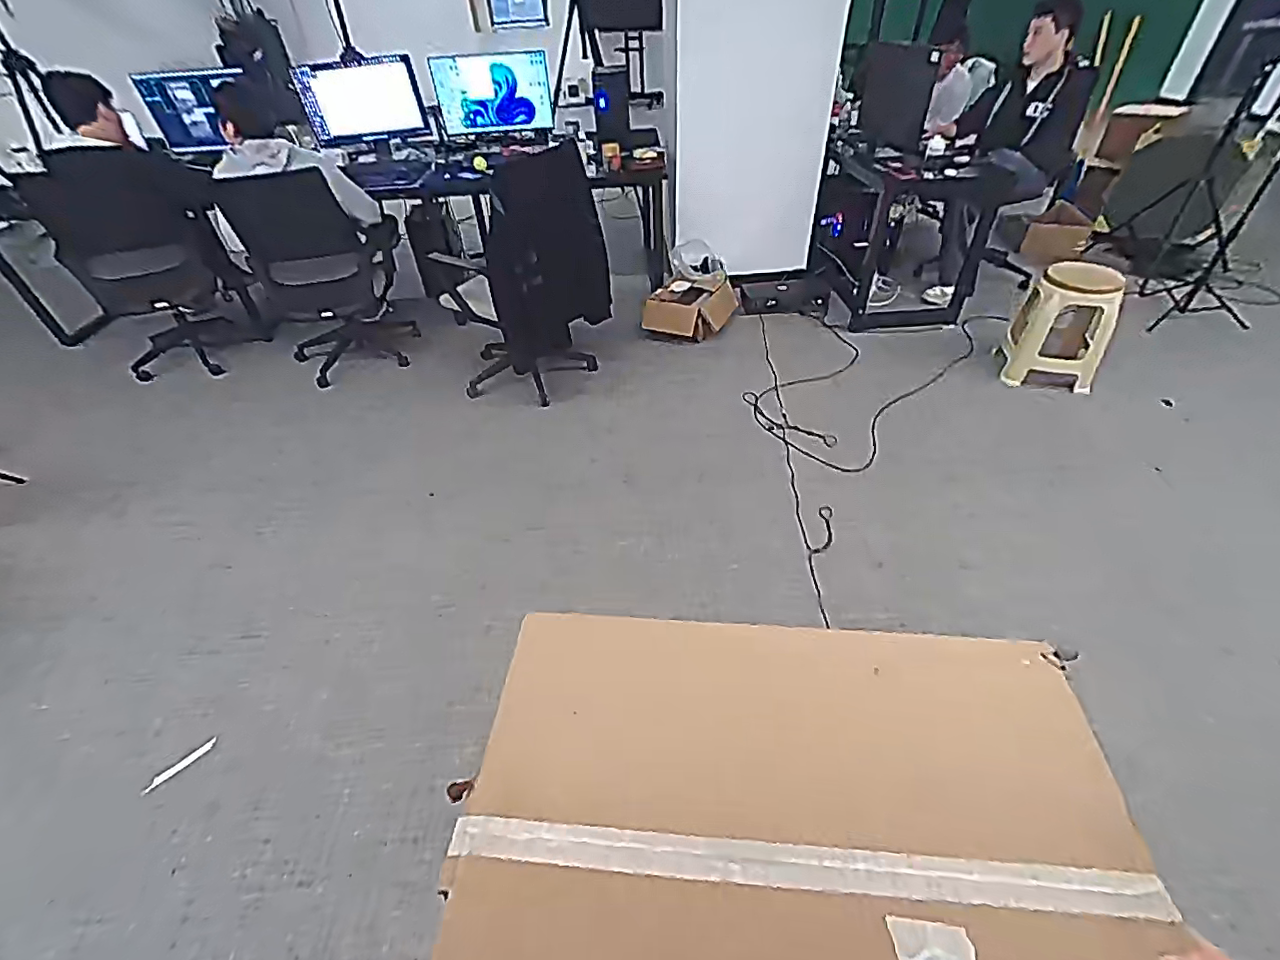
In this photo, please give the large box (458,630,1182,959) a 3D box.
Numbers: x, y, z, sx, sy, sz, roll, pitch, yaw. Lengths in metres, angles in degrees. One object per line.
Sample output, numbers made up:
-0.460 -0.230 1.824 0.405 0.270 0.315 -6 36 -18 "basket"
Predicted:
0.101 0.341 0.431 0.408 0.320 0.320 2 46 4 "large box"
